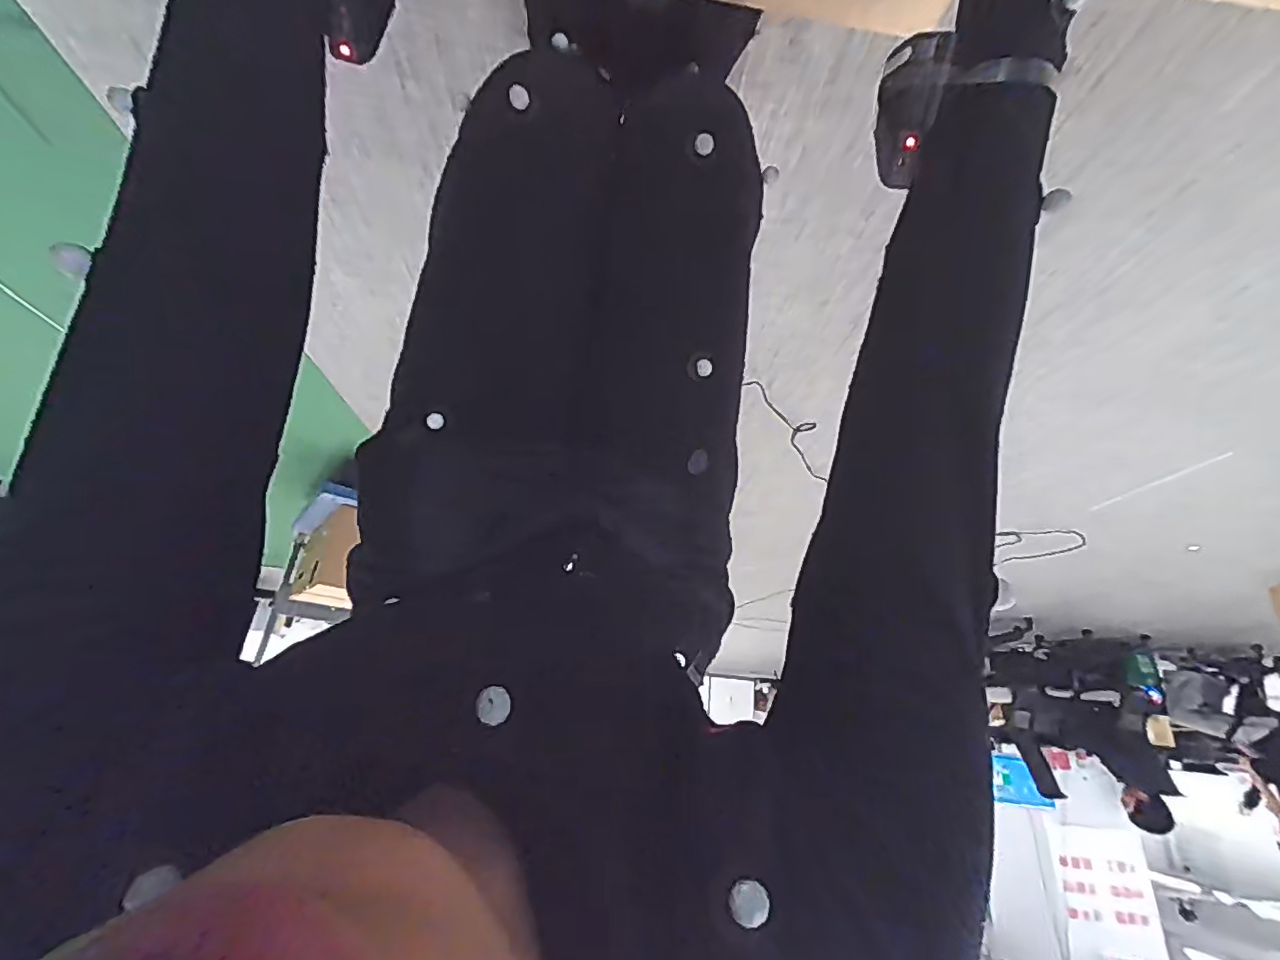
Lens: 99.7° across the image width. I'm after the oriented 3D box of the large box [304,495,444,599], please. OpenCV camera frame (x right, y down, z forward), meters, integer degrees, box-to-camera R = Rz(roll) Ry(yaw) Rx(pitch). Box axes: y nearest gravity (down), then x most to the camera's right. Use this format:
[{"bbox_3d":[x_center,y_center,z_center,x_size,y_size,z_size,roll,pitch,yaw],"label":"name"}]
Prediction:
[{"bbox_3d":[-1.072,0.282,2.189,0.408,0.320,0.320,22,153,-35],"label":"large box"}]
